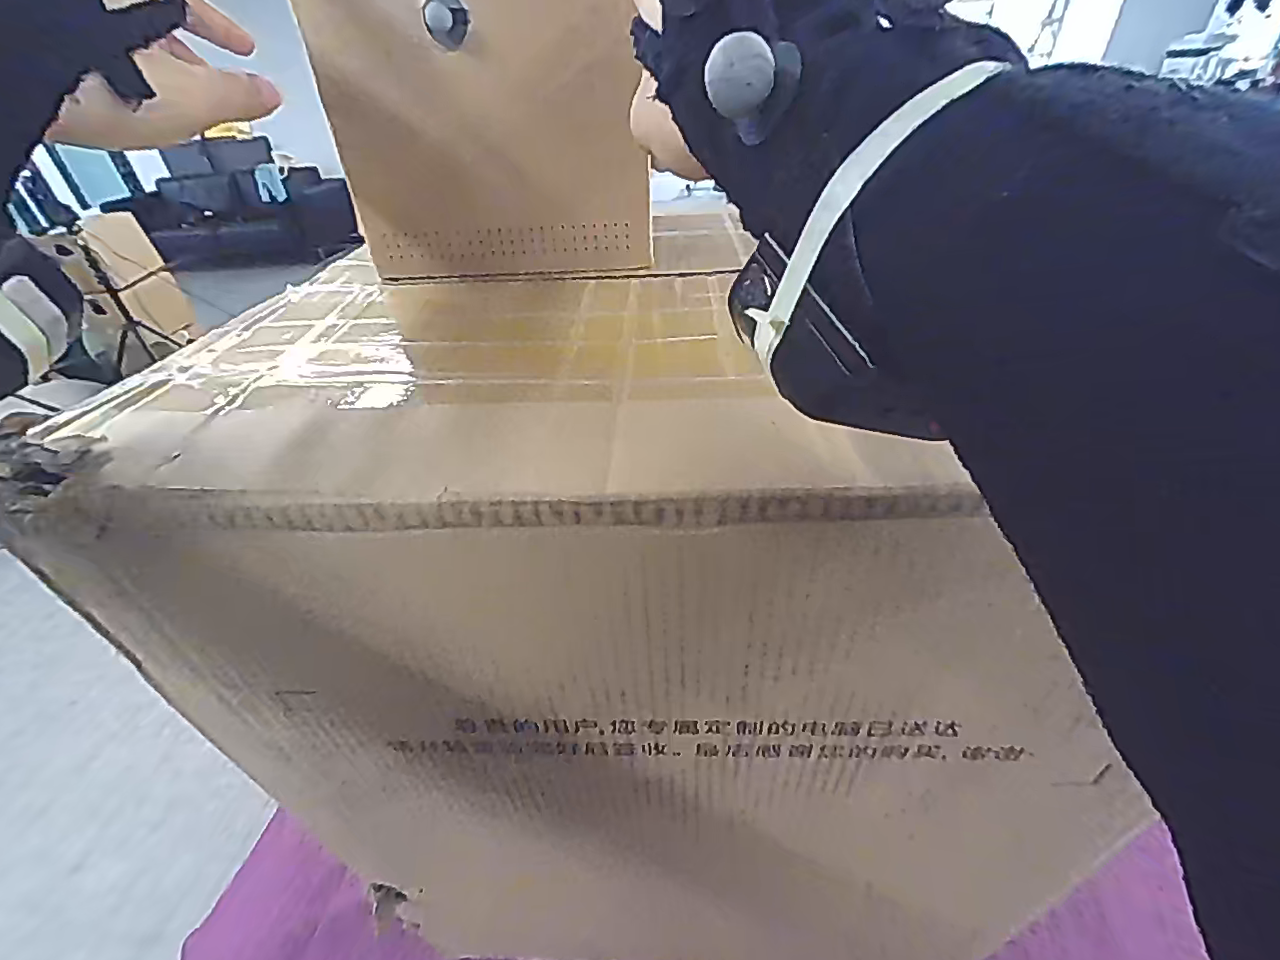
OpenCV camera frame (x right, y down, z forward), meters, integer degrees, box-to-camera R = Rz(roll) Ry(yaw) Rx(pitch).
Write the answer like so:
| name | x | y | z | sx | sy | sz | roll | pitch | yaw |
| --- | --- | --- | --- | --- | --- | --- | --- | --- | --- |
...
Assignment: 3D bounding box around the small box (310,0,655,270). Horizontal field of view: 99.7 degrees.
| name | x | y | z | sx | sy | sz | roll | pitch | yaw |
| --- | --- | --- | --- | --- | --- | --- | --- | --- | --- |
| small box | -0.081 | -0.243 | 0.353 | 0.179 | 0.176 | 0.168 | -1 | 37 | 1 |
